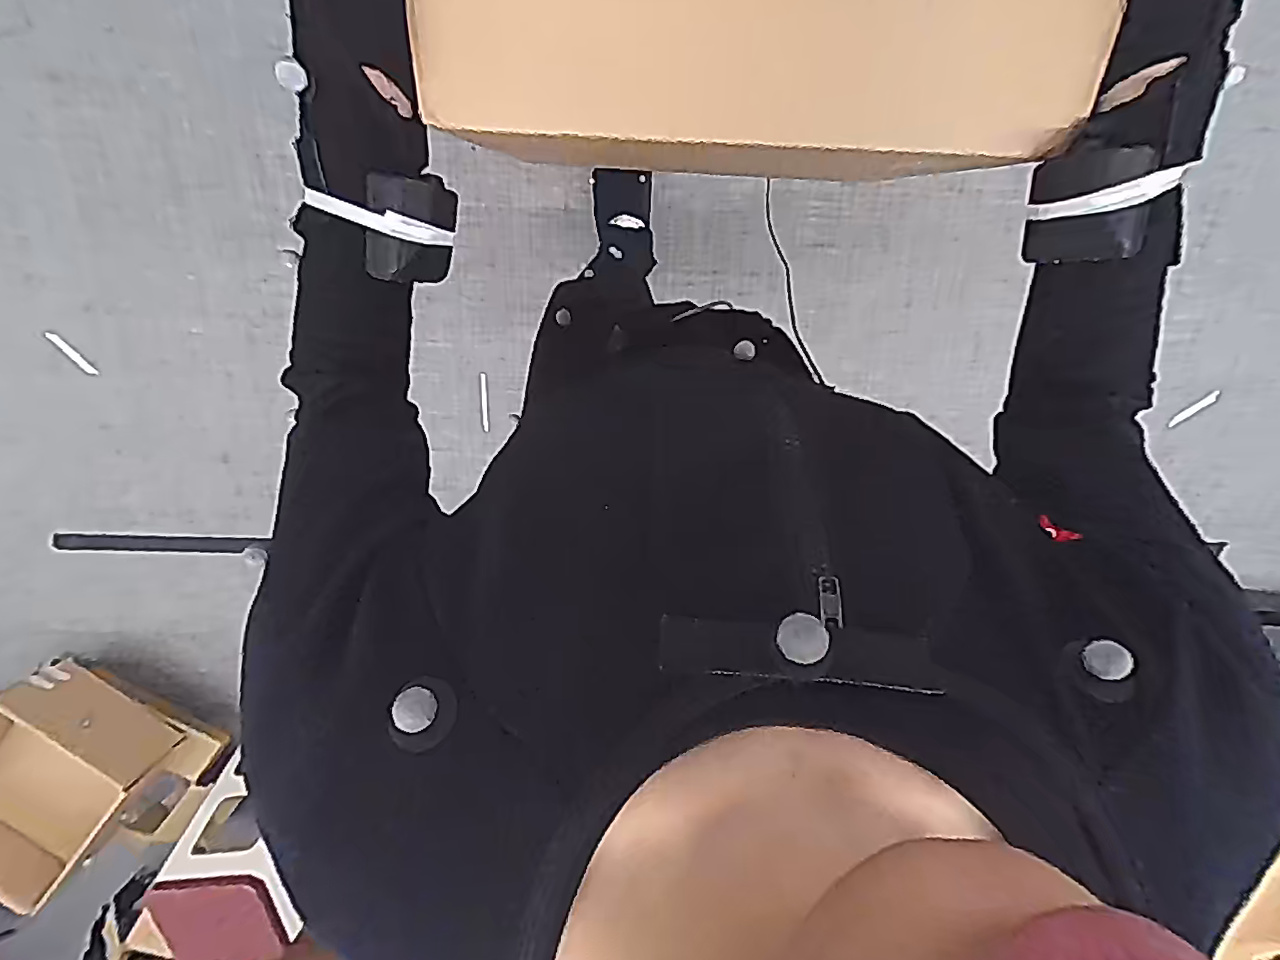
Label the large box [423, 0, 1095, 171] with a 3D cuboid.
[{"bbox_3d":[0.071,-0.426,0.411,0.408,0.320,0.320,2,118,-2],"label":"large box"}]
